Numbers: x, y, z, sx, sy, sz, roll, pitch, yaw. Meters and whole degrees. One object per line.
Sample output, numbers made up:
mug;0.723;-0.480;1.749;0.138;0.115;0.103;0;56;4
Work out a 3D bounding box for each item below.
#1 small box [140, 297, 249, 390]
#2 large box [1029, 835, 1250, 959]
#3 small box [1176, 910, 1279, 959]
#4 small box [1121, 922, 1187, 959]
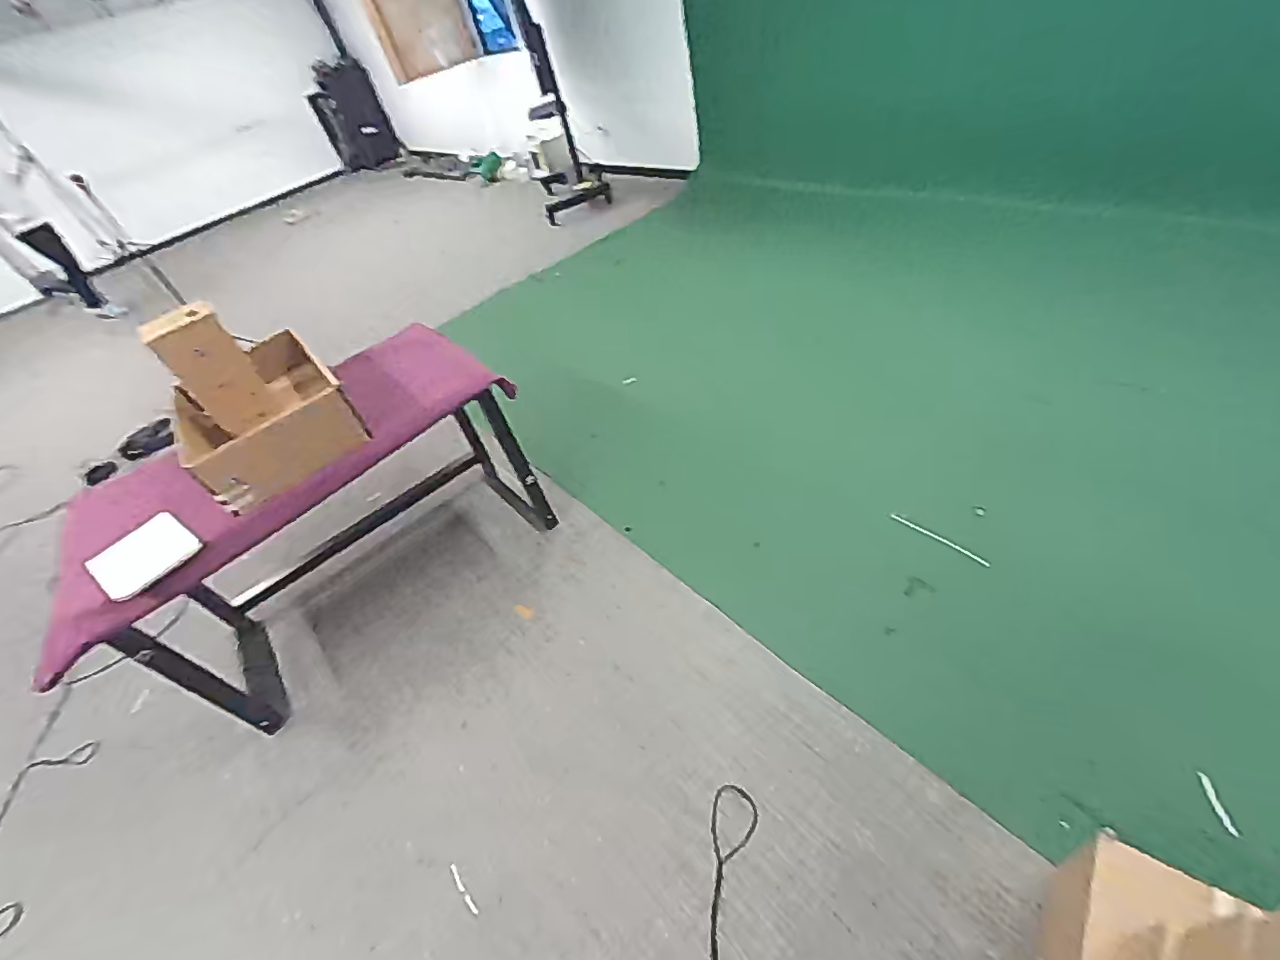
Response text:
small box;-1.249;-0.387;1.530;0.179;0.176;0.168;-39;48;-22
large box;0.826;0.889;0.852;0.320;0.320;0.408;19;52;31
small box;0.702;0.615;0.574;0.168;0.176;0.179;25;58;36
small box;0.734;0.725;0.689;0.179;0.176;0.168;24;57;36
